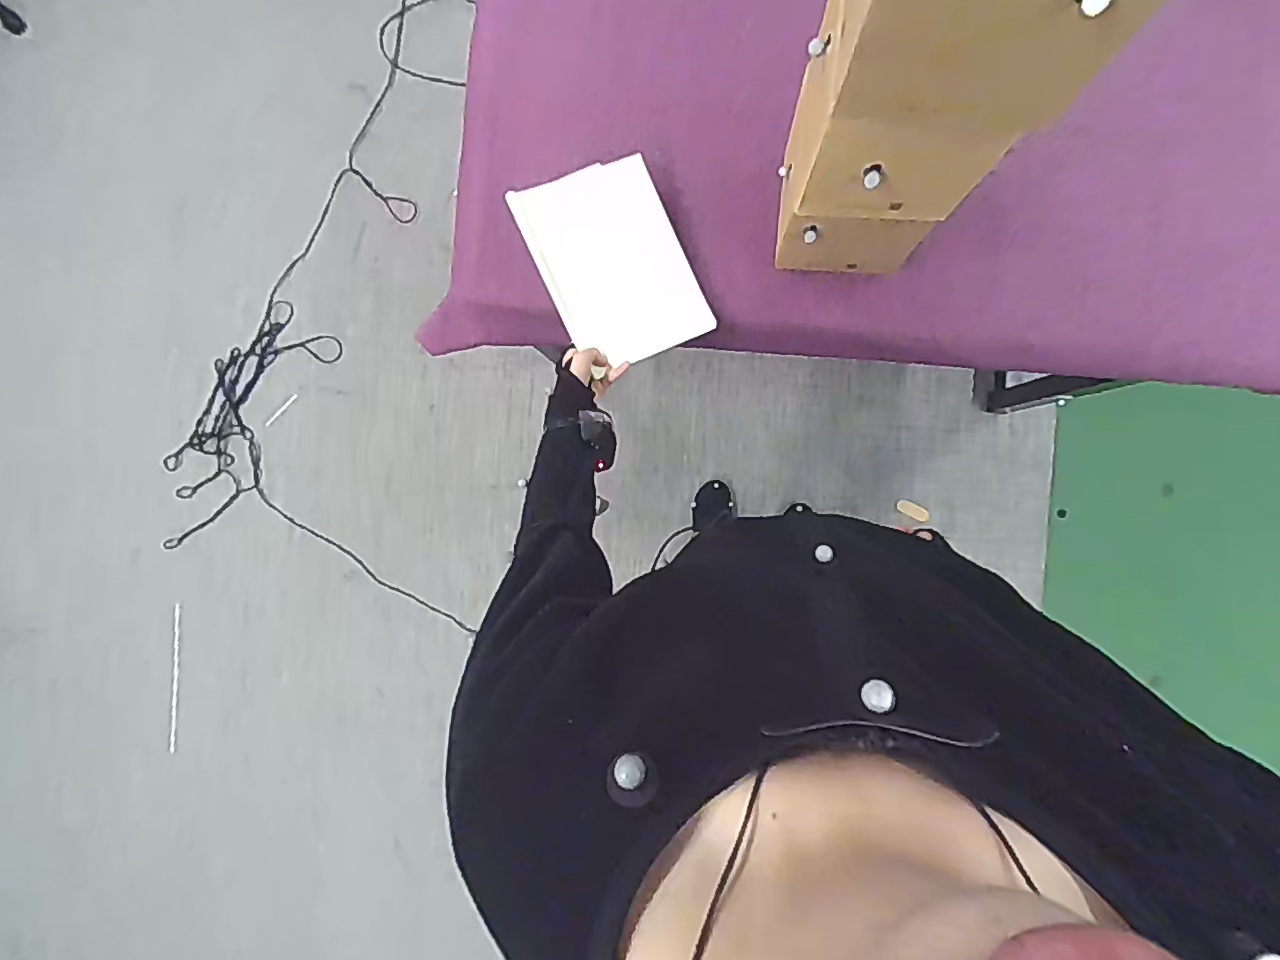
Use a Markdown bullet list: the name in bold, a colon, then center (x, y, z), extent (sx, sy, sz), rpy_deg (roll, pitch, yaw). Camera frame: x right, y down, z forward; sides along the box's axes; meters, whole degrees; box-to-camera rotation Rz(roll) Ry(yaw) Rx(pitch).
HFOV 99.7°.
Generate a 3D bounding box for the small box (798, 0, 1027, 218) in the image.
- **small box**: center (0.257, -0.384, 0.535), extent (0.168, 0.176, 0.179), rpy_deg (6, 89, 7)

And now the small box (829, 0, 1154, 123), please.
- **small box**: center (0.247, -0.381, 0.370), extent (0.179, 0.176, 0.168), rpy_deg (8, 89, 7)
